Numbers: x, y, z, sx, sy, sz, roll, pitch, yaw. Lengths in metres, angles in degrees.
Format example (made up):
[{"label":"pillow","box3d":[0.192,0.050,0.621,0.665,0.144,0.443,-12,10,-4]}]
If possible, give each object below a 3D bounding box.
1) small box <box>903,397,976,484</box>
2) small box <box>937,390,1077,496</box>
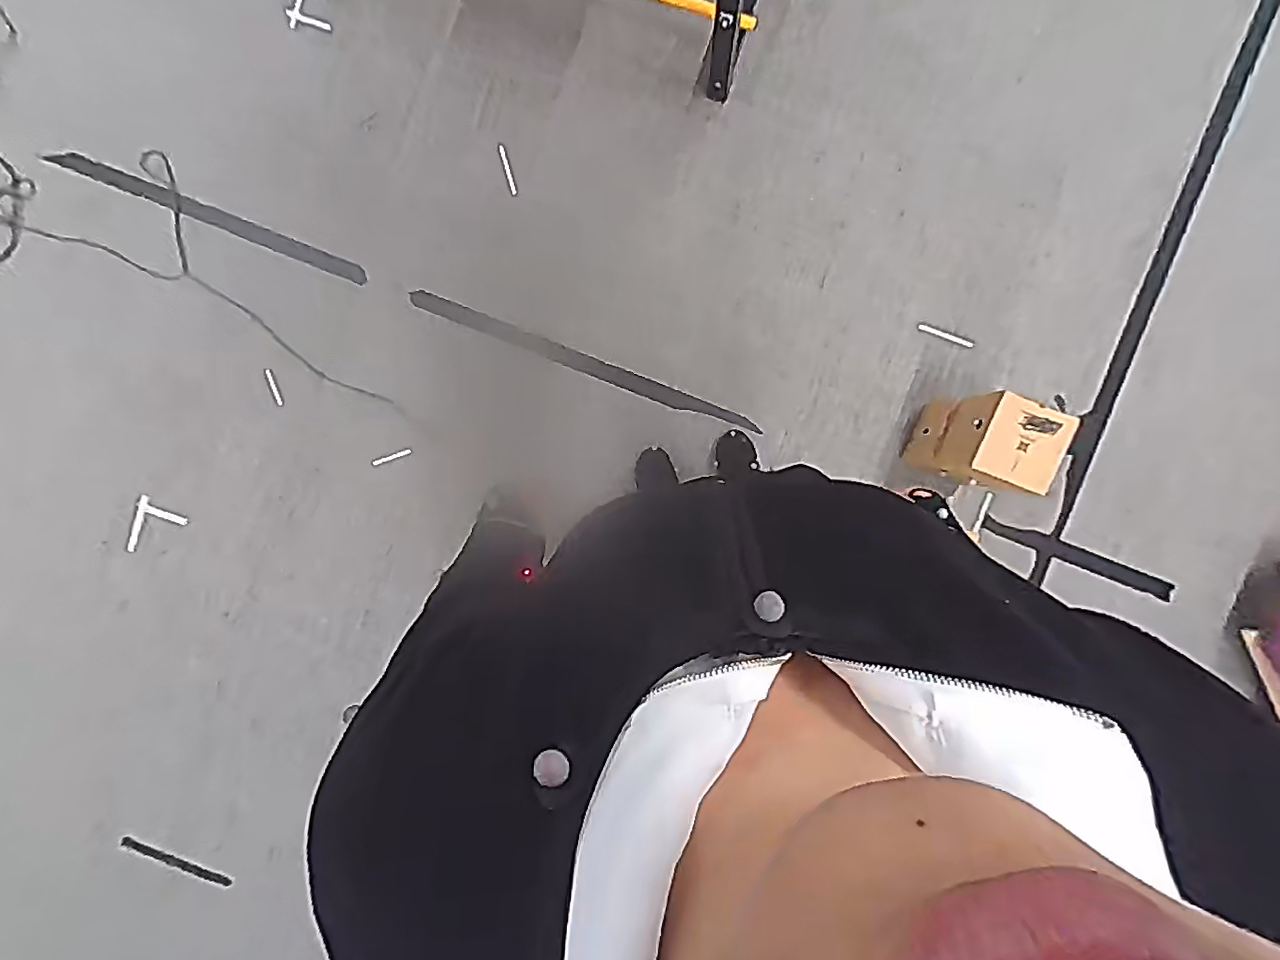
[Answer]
[{"label":"small box","box3d":[0.802,-0.093,1.364,0.179,0.176,0.168,23,93,3]},{"label":"small box","box3d":[0.798,-0.081,1.198,0.168,0.176,0.179,23,94,2]}]
